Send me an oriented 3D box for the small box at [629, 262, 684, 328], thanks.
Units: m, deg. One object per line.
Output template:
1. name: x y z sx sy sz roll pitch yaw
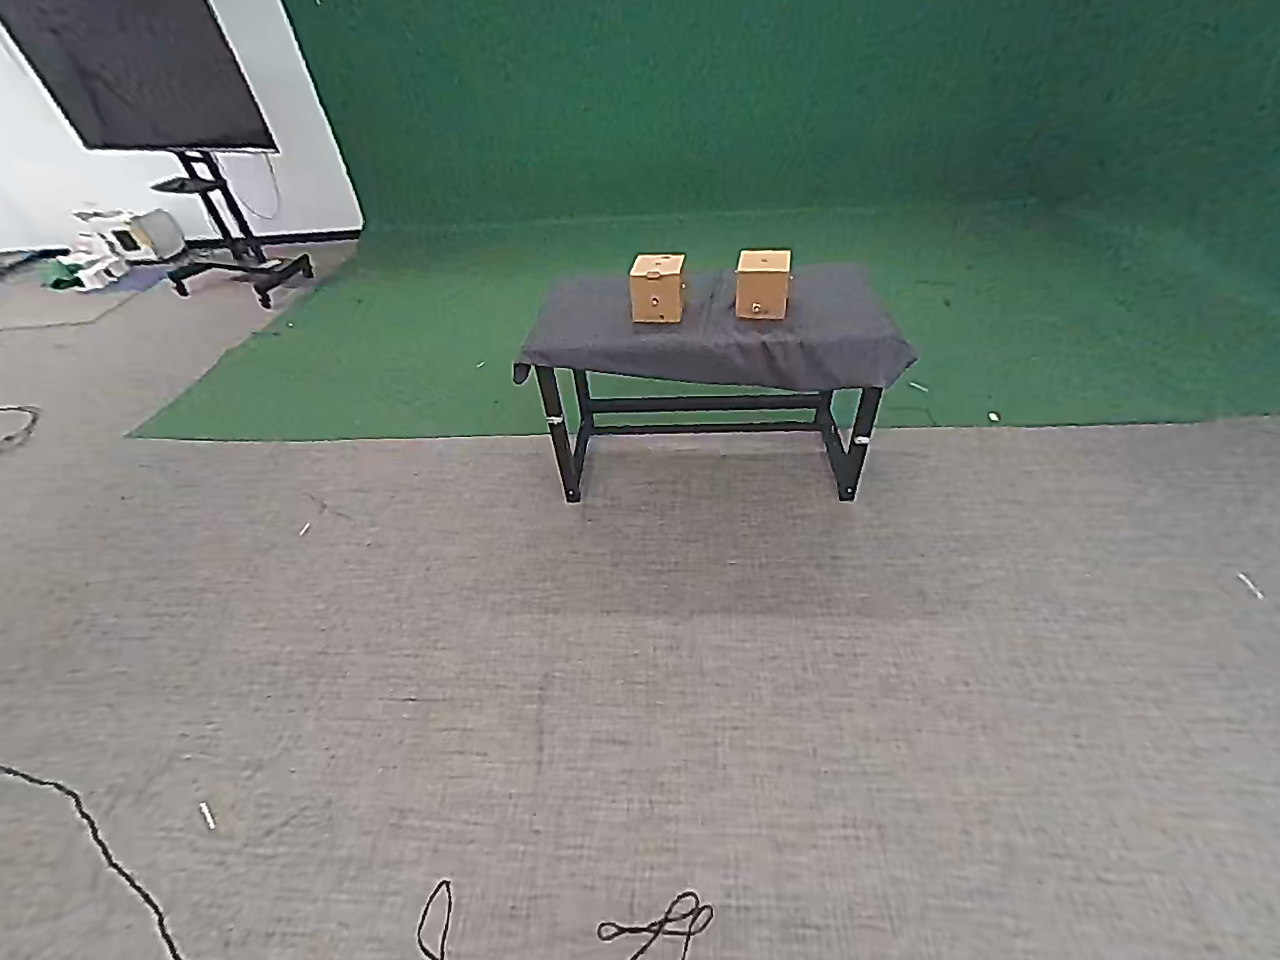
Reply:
1. small box: 0.063 -0.641 1.882 0.168 0.176 0.179 1 42 9

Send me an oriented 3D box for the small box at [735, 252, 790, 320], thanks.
1. small box: 0.414 -0.661 1.836 0.168 0.176 0.179 5 43 15
